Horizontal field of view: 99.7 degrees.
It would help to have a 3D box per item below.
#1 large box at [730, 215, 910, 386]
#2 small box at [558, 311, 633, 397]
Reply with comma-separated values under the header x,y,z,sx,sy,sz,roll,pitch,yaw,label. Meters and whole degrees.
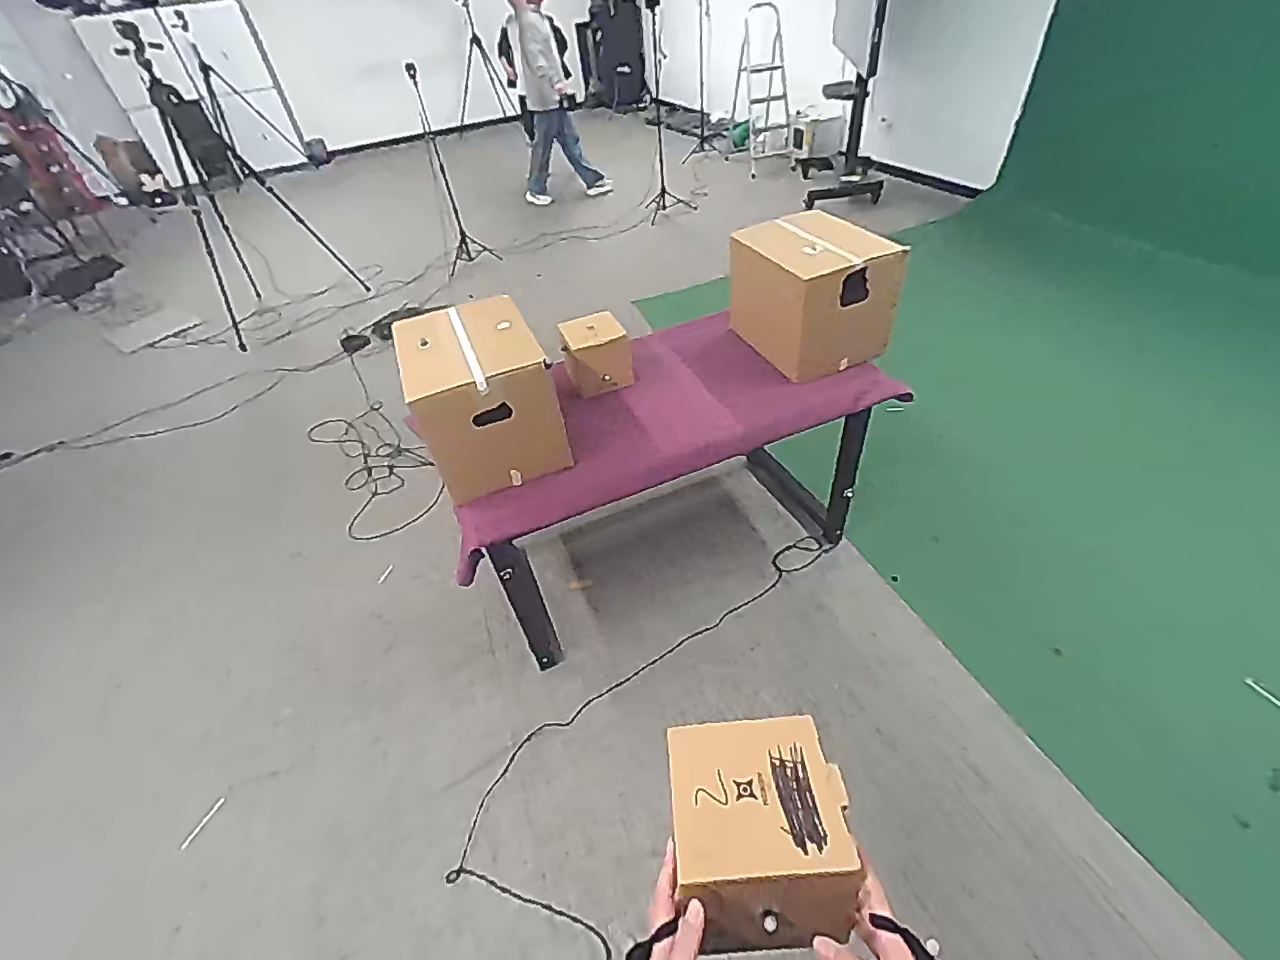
x,y,z,sx,sy,sz,roll,pitch,yaw,label
0.496,-0.538,1.596,0.320,0.320,0.408,-20,45,-11,large box
-0.131,-0.374,1.608,0.168,0.176,0.179,-19,45,-12,small box
